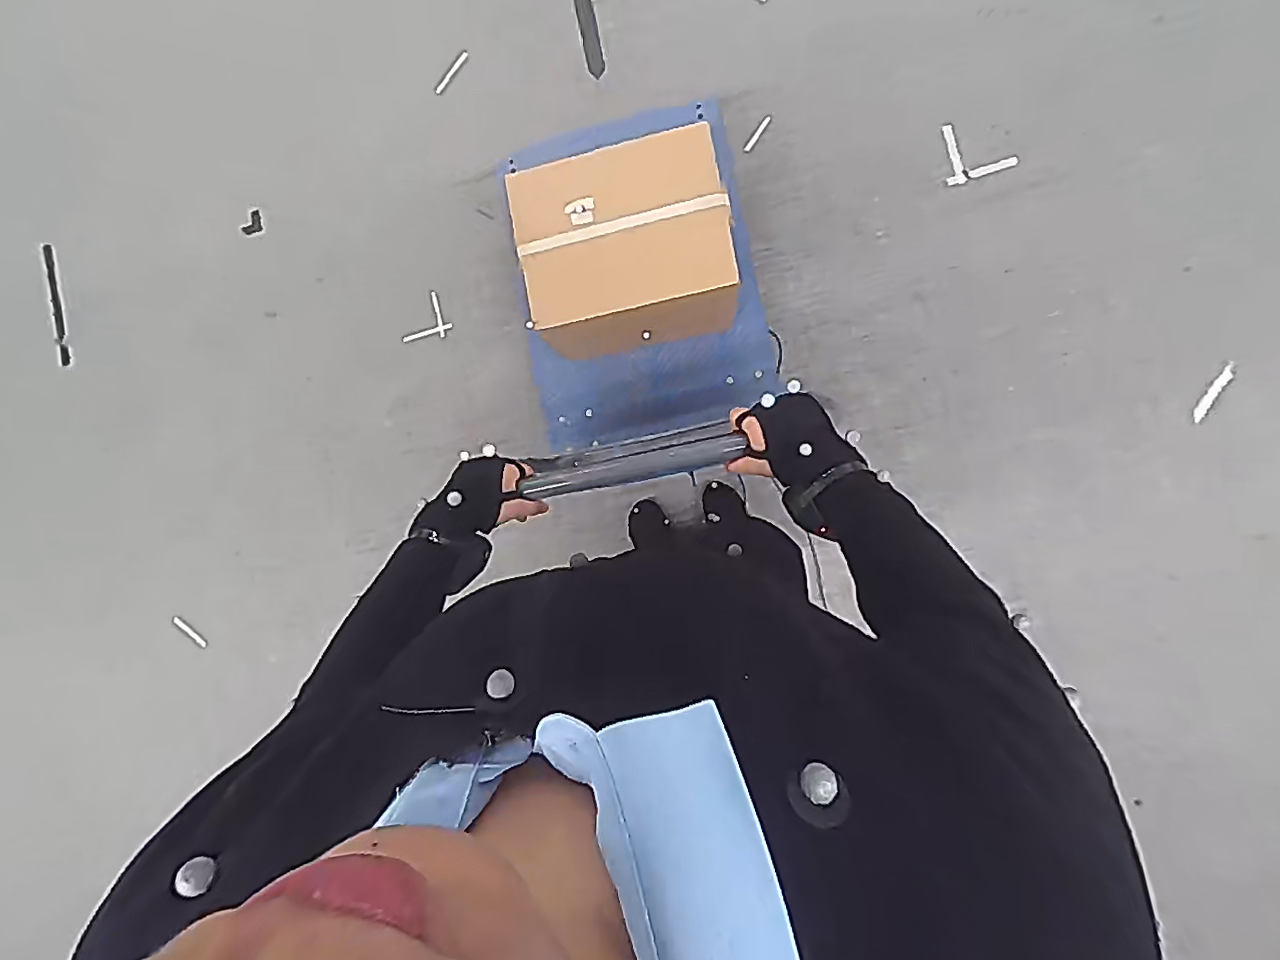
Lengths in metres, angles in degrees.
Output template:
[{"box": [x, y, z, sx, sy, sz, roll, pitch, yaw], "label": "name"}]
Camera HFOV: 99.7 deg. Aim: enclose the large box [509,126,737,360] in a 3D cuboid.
[{"box": [-0.018, -0.483, 1.190, 0.408, 0.320, 0.320, -11, 88, 8], "label": "large box"}]
